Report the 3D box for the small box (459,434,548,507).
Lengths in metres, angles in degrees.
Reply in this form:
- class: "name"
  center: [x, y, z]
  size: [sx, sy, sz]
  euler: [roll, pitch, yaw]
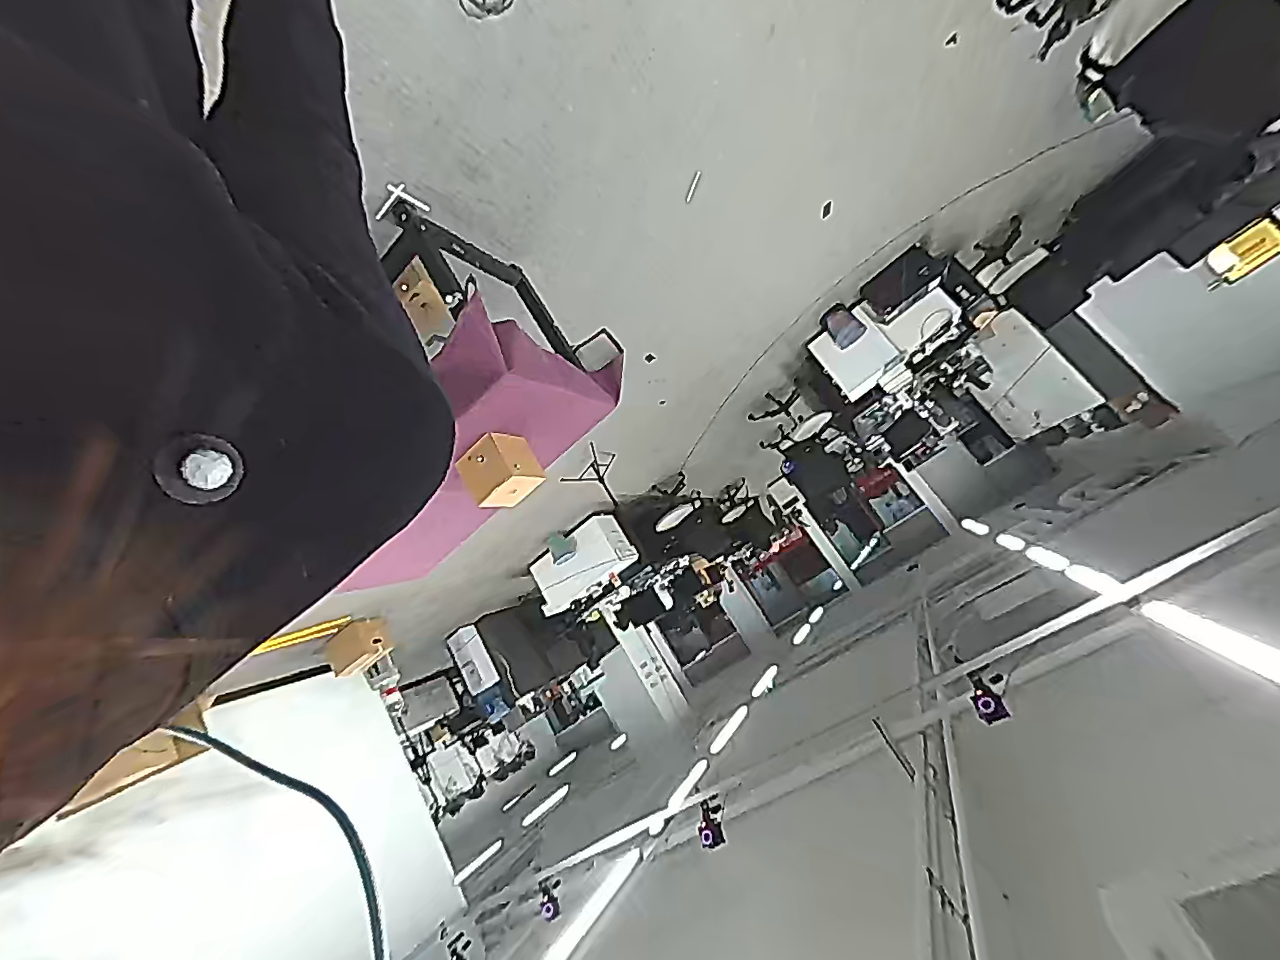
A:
- class: "small box"
  center: [-0.434, -0.029, 1.718]
  size: [0.168, 0.176, 0.179]
  euler: [-39, 162, 20]
